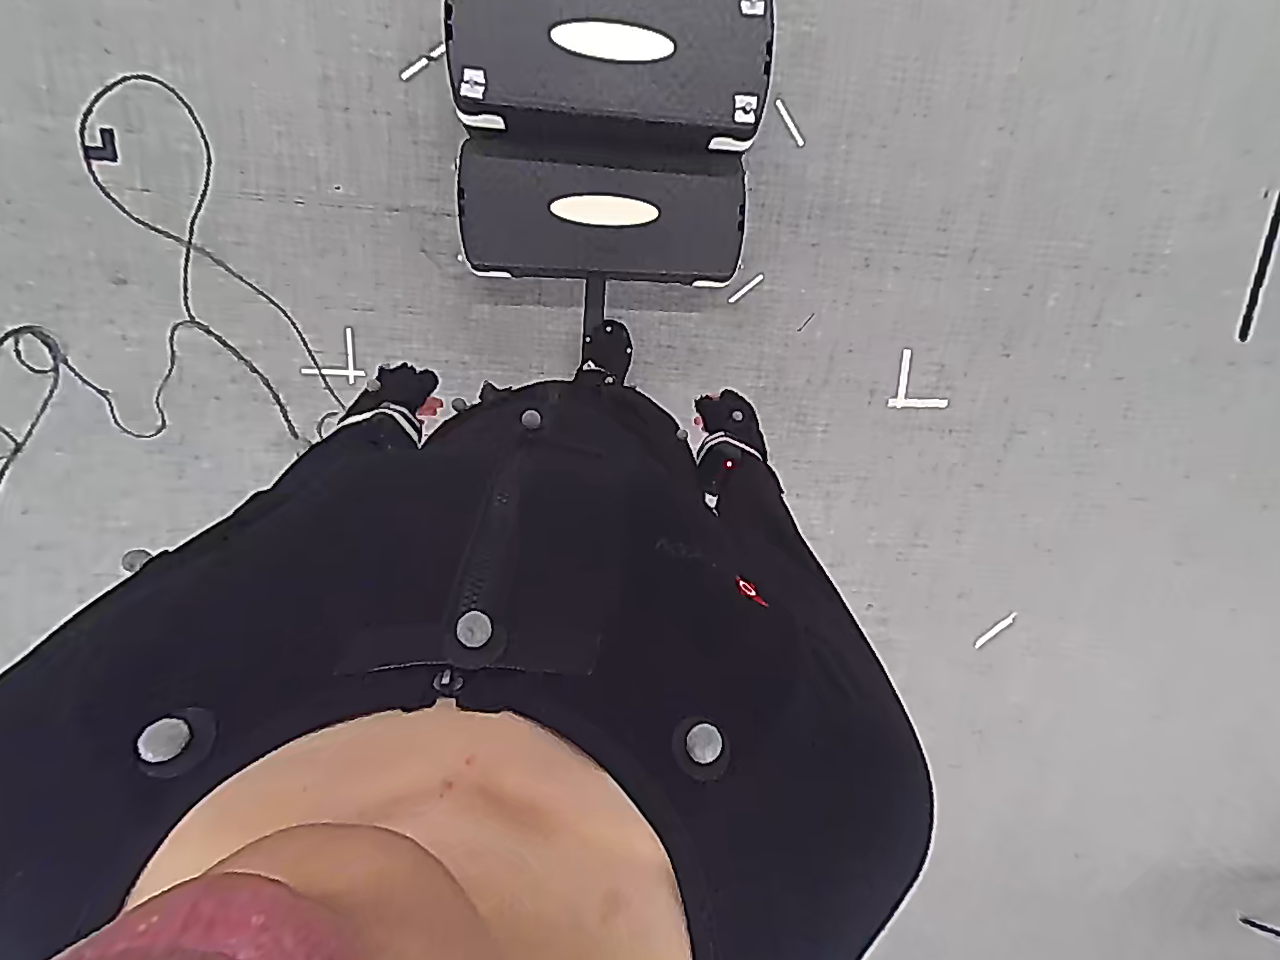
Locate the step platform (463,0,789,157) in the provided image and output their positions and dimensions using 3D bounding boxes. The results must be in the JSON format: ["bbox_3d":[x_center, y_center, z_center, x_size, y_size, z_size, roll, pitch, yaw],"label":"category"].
[{"bbox_3d":[-0.028,-0.914,1.180,0.684,0.204,0.286,1,103,-6],"label":"step platform"}]
